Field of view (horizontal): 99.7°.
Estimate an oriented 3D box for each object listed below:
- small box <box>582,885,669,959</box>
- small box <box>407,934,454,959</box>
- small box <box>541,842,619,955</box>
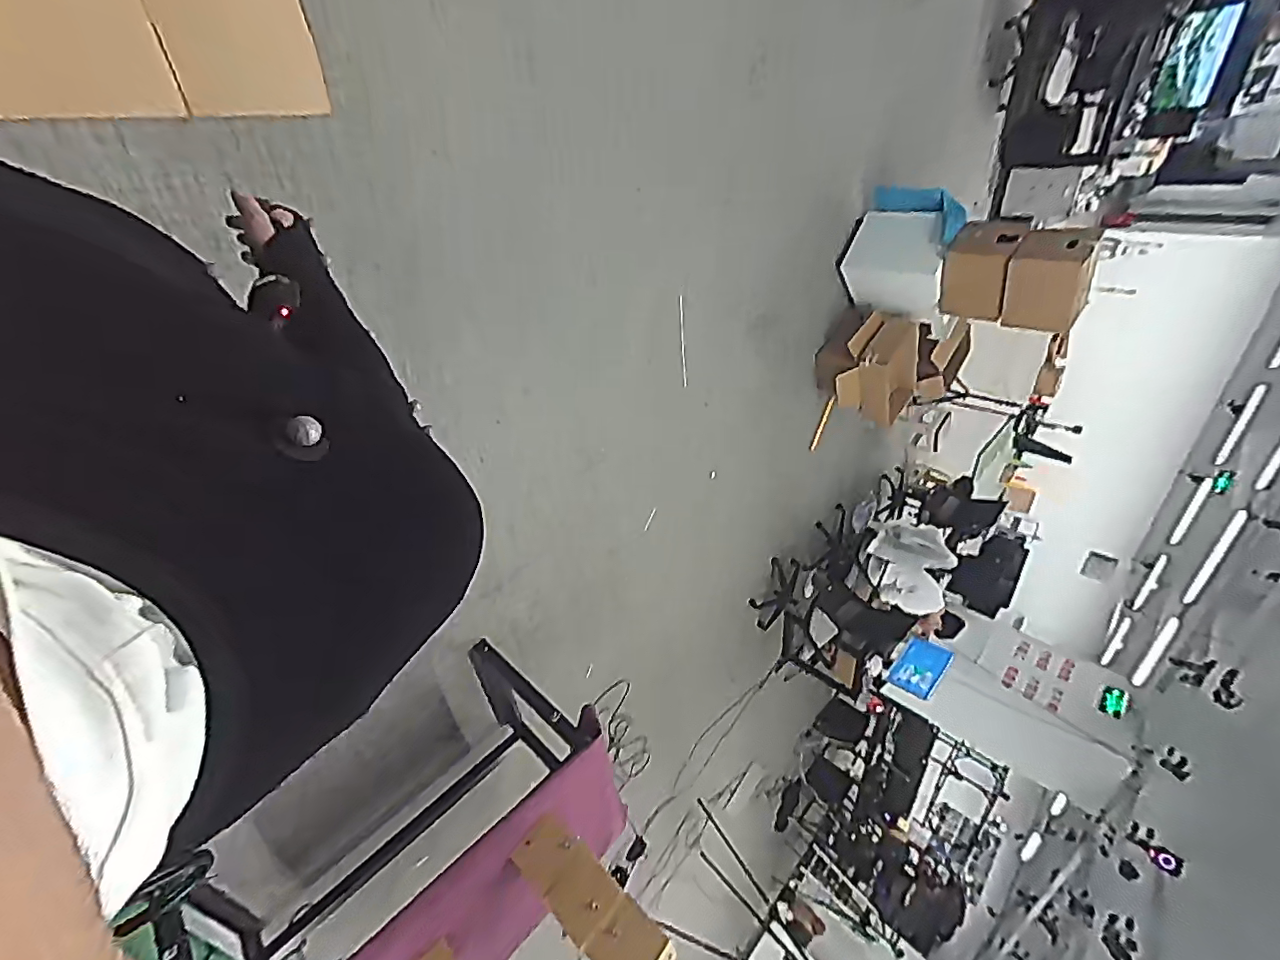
[{"bbox_3d":[-0.044,1.285,1.498,0.179,0.176,0.168,-37,136,-31],"label":"small box"},{"bbox_3d":[-0.581,1.411,1.477,0.179,0.176,0.168,-25,127,-38],"label":"small box"},{"bbox_3d":[-0.170,1.221,1.583,0.179,0.176,0.168,-39,136,-30],"label":"small box"}]
